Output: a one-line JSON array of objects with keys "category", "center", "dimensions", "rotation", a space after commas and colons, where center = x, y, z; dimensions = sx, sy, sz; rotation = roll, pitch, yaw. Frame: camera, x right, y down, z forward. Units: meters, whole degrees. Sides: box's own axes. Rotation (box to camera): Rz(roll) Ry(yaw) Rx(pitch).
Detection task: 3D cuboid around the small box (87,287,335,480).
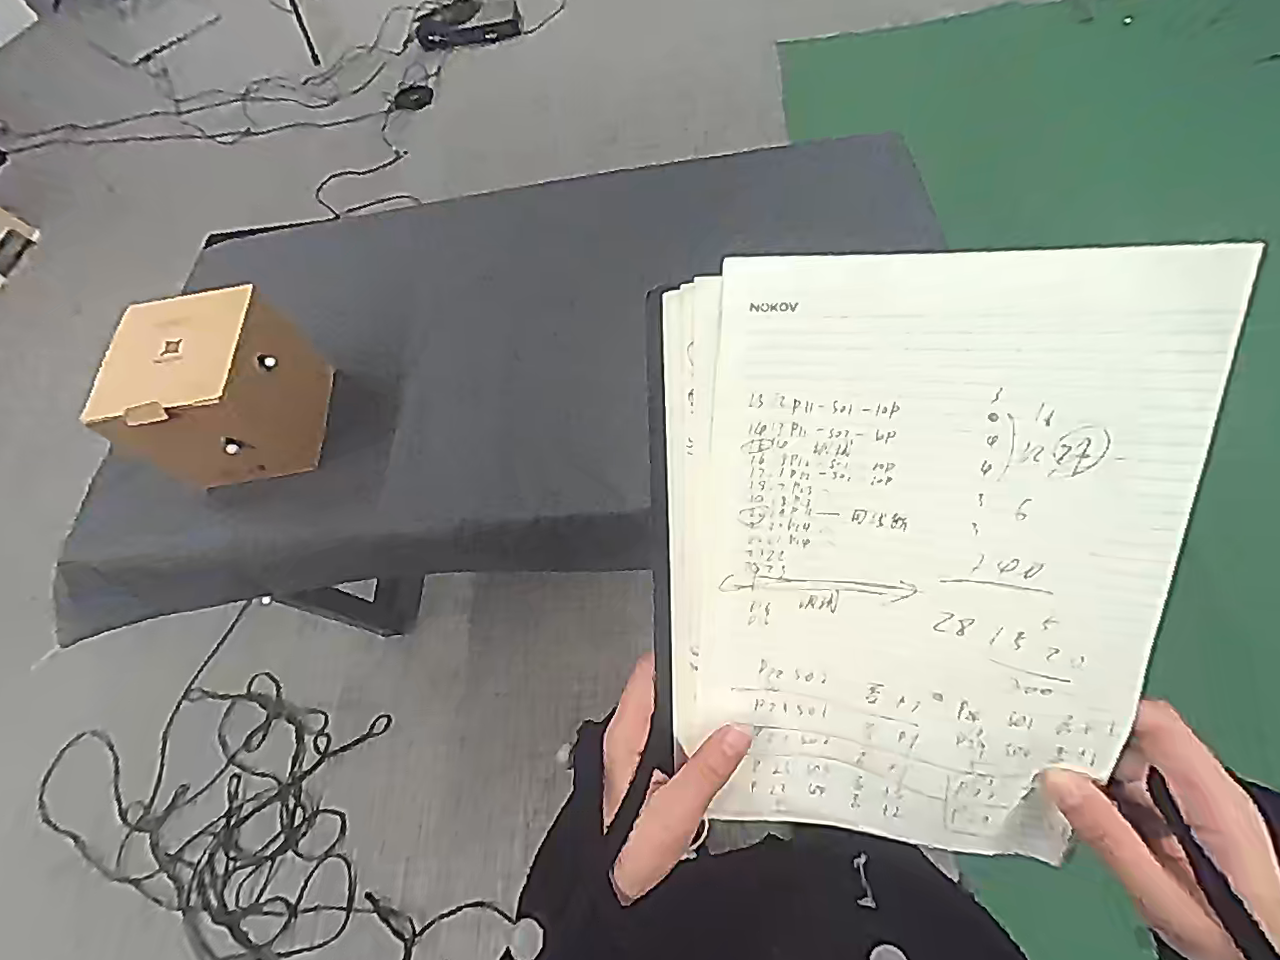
[{"category": "small box", "center": [-0.526, -0.112, 0.696], "dimensions": [0.168, 0.176, 0.179], "rotation": [-8, 62, 3]}]
